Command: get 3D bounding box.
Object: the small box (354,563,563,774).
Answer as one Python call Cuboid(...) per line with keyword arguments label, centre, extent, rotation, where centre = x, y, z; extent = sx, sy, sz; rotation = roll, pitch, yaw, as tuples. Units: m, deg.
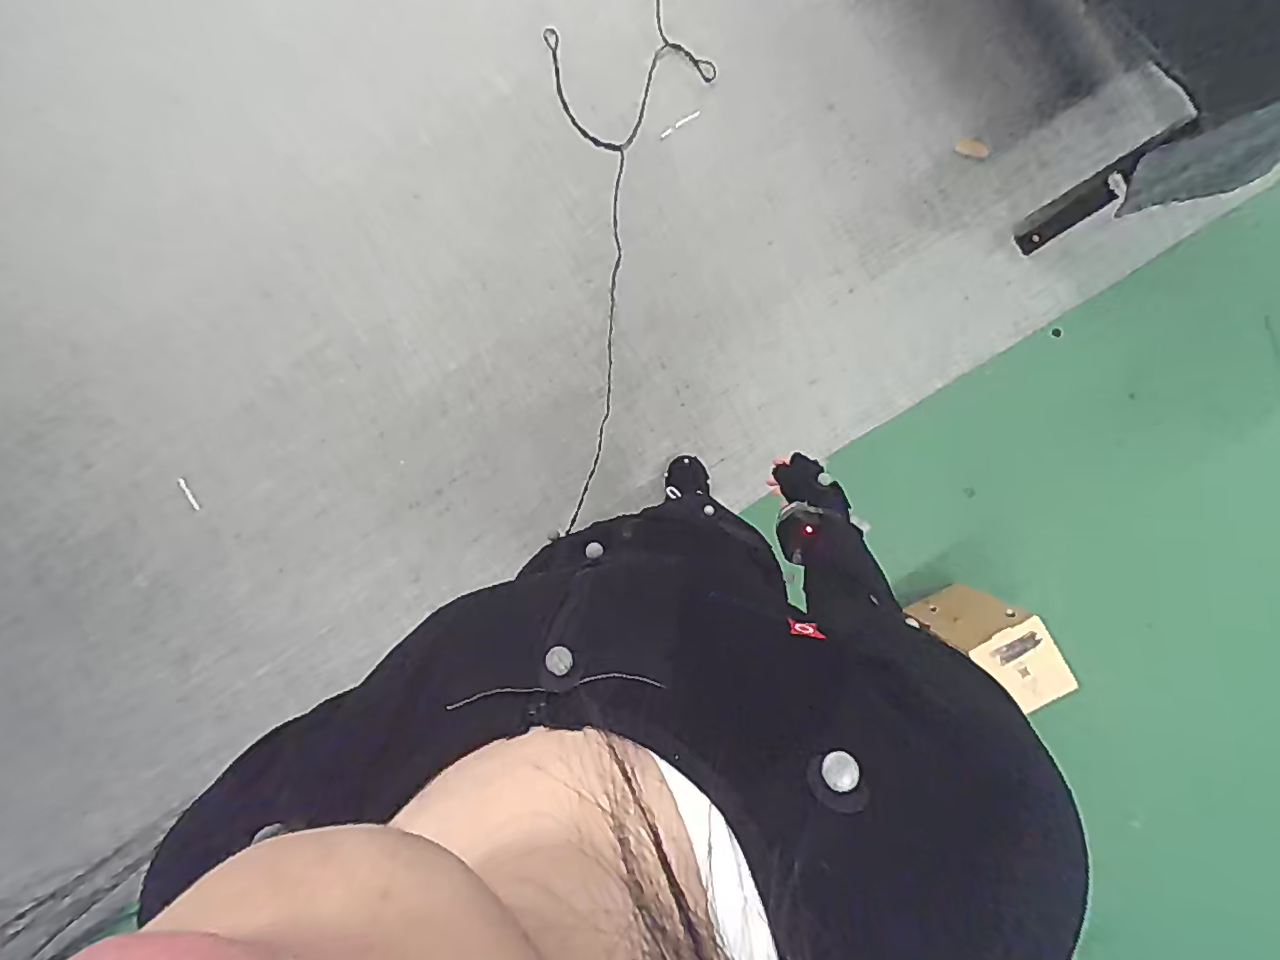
Cuboid(label="small box", centre=(-0.217, 0.239, 0.679), extent=(0.168, 0.179, 0.176), rotation=(36, 67, 12))
